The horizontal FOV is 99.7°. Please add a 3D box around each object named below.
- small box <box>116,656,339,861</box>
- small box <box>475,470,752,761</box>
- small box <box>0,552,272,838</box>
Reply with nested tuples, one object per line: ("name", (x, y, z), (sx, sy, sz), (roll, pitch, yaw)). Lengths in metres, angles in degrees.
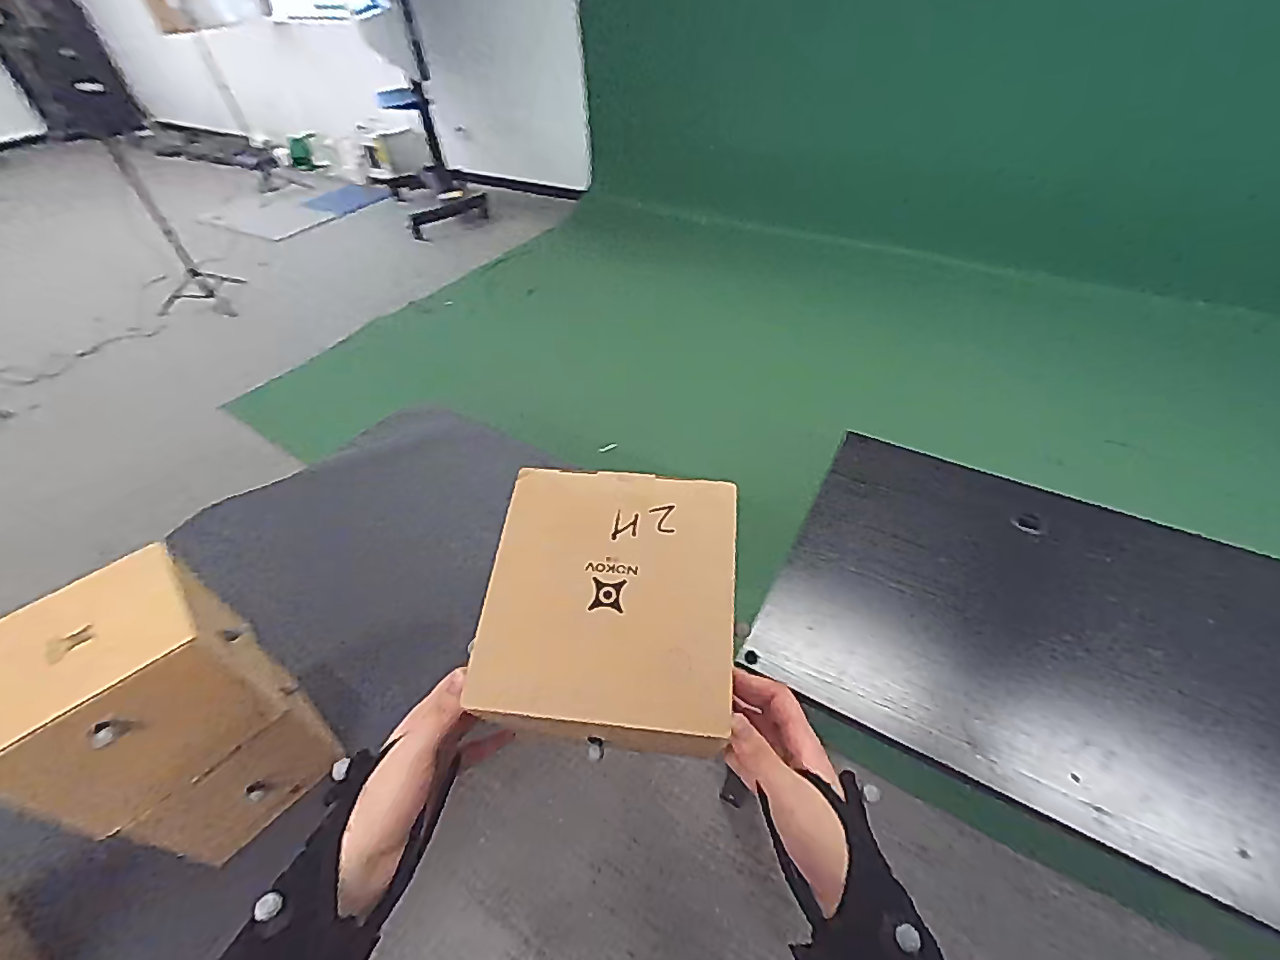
("small box", (-0.515, 0.330, 0.667), (0.179, 0.176, 0.168), (30, 54, 29))
("small box", (-0.006, 0.114, 0.427), (0.168, 0.176, 0.179), (5, 59, 6))
("small box", (-0.515, 0.215, 0.550), (0.179, 0.176, 0.168), (-36, 53, -27))
